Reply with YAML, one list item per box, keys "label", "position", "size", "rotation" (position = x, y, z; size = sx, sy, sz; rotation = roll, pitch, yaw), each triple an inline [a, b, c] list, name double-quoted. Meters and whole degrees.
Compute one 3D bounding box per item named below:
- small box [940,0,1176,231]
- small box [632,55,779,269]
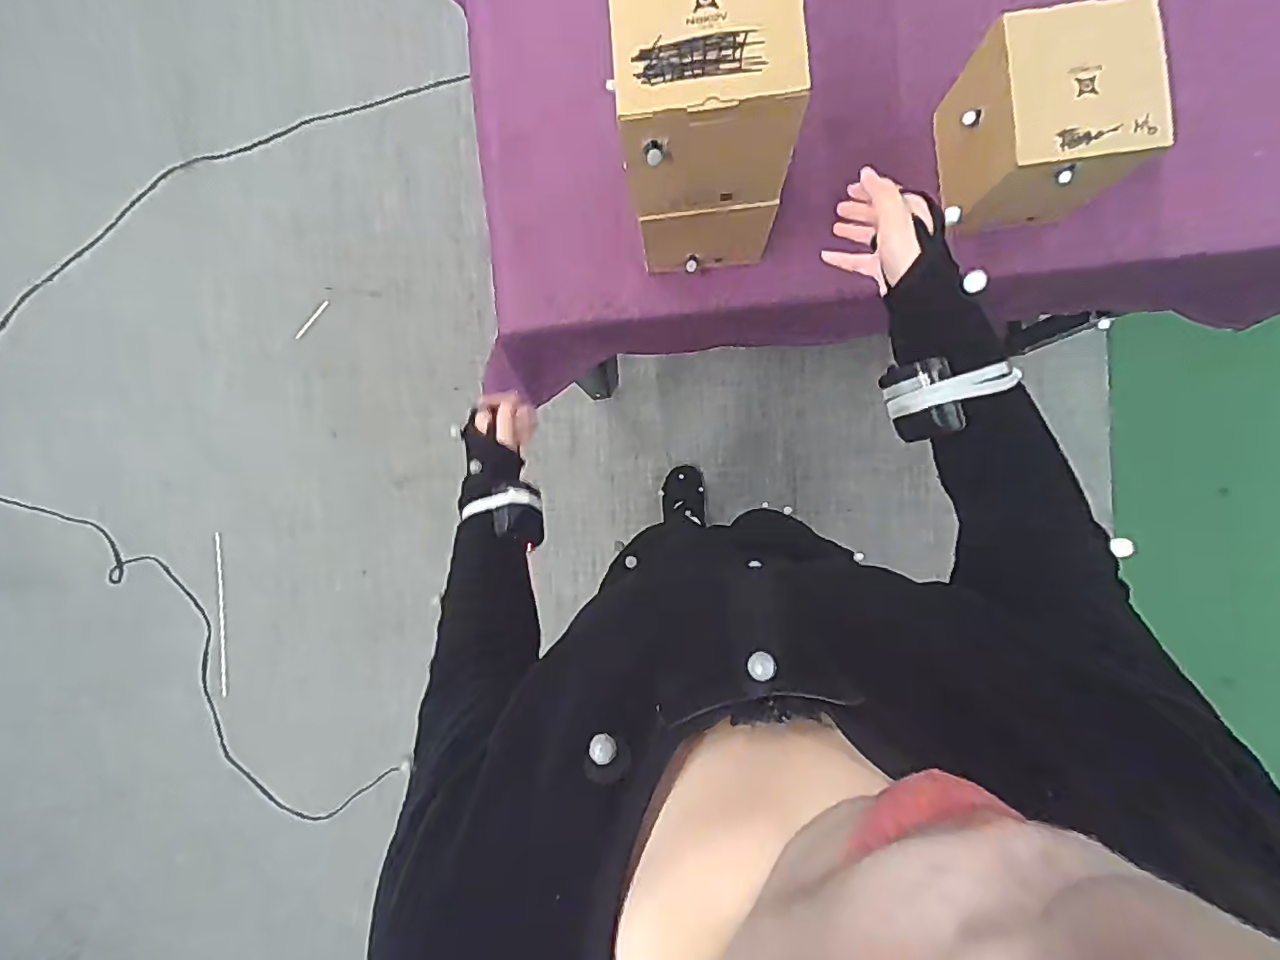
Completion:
- label: "small box"
  position: [0.498, -0.442, 0.672]
  size: [0.168, 0.176, 0.179]
  rotation: [-5, 89, 6]
- label: "small box"
  position: [0.081, -0.399, 0.707]
  size: [0.168, 0.176, 0.179]
  rotation: [-4, 90, 5]
